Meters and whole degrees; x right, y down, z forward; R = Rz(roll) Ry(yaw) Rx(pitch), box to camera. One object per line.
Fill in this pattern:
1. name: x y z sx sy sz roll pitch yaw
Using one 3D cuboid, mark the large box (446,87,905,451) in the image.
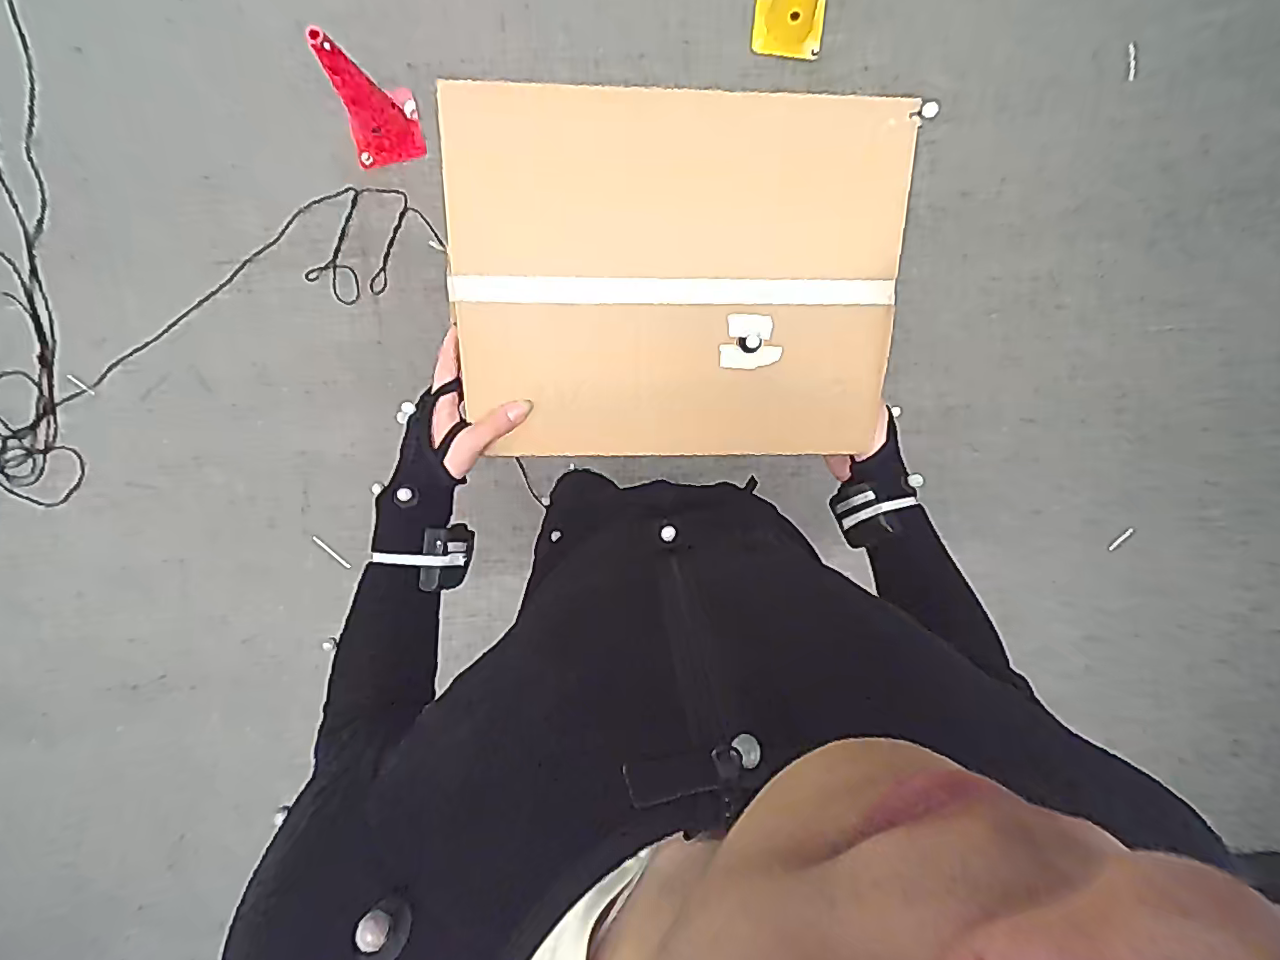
1. large box: 0.024 -0.224 0.643 0.408 0.320 0.320 -1 108 -4
